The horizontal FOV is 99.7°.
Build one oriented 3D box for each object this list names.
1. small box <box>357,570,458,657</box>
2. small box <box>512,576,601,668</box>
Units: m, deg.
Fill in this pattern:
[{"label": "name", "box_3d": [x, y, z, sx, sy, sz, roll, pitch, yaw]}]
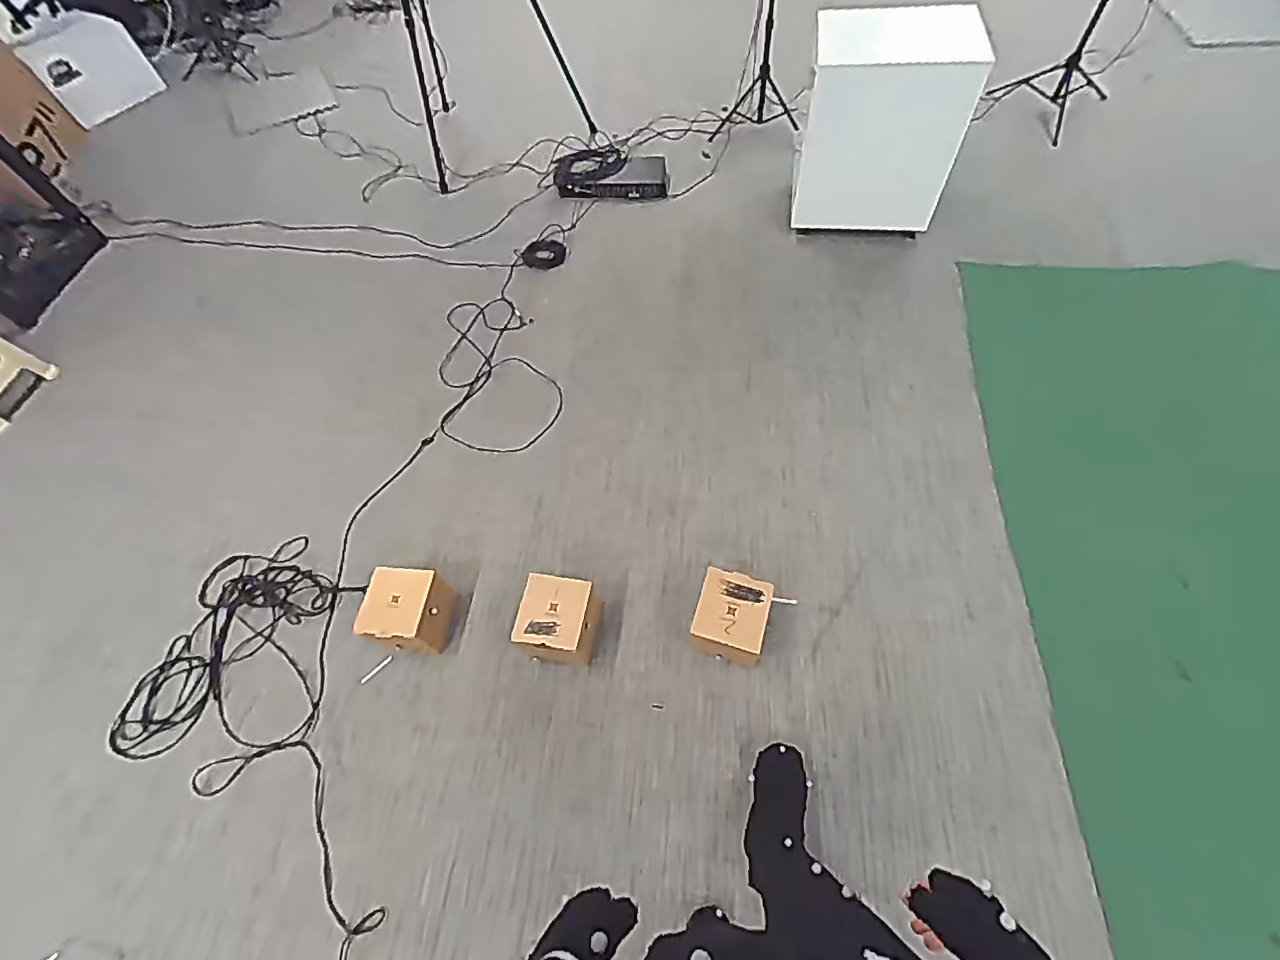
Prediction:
[{"label": "small box", "box_3d": [-0.603, 0.354, 1.429, 0.168, 0.176, 0.179, 2, 60, 8]}, {"label": "small box", "box_3d": [-0.203, 0.367, 1.379, 0.168, 0.176, 0.179, 7, 60, 10]}]
